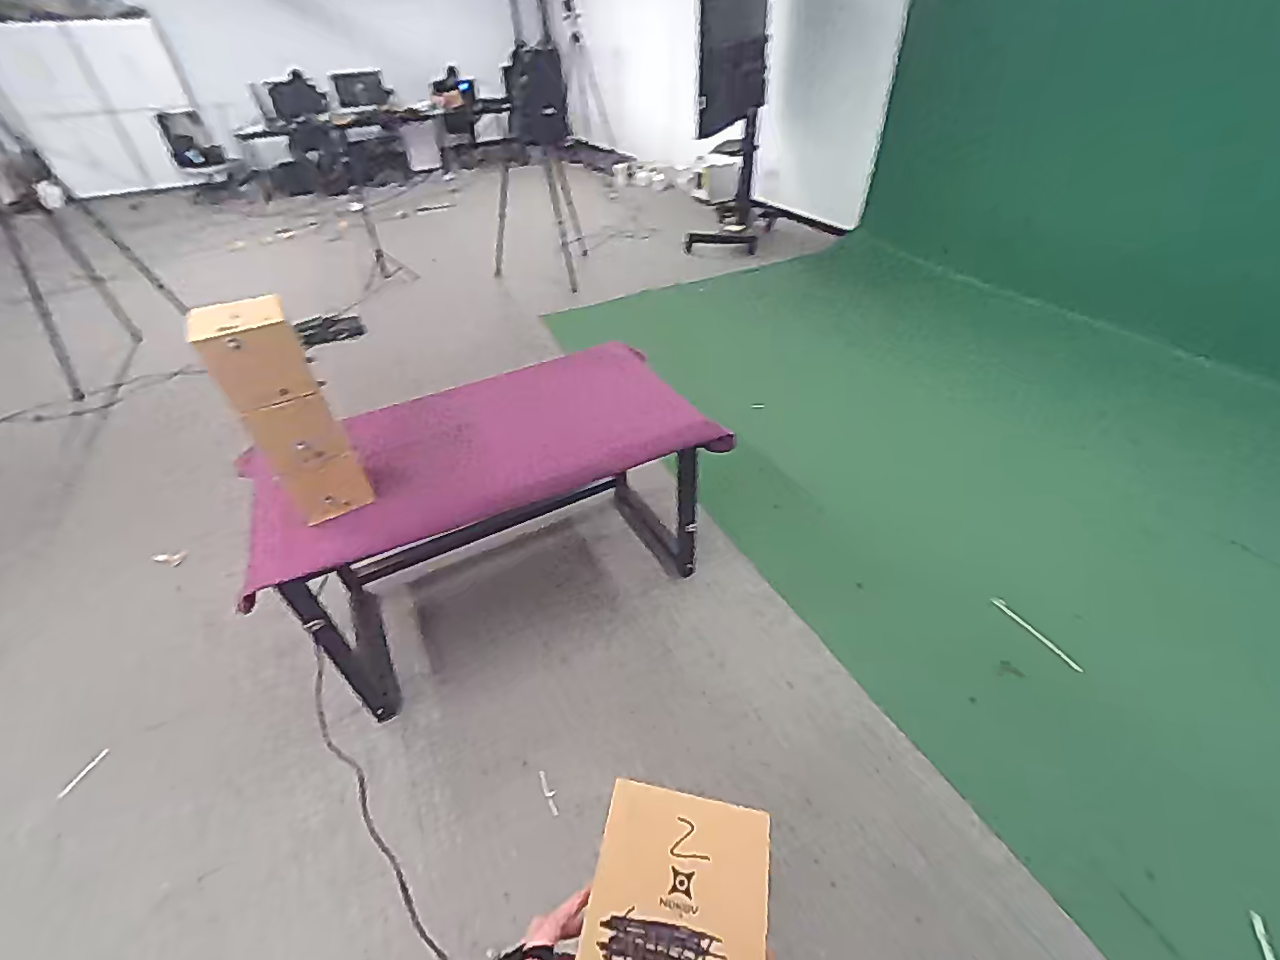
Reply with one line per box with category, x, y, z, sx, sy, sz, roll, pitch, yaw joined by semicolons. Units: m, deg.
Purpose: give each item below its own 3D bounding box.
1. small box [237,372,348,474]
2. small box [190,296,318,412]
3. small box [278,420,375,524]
small box;-0.807;-0.143;1.256;0.168;0.176;0.179;-25;46;-24
small box;-0.814;-0.270;1.152;0.168;0.176;0.179;-23;44;-22
small box;-0.796;-0.021;1.366;0.168;0.176;0.179;-24;45;-23
